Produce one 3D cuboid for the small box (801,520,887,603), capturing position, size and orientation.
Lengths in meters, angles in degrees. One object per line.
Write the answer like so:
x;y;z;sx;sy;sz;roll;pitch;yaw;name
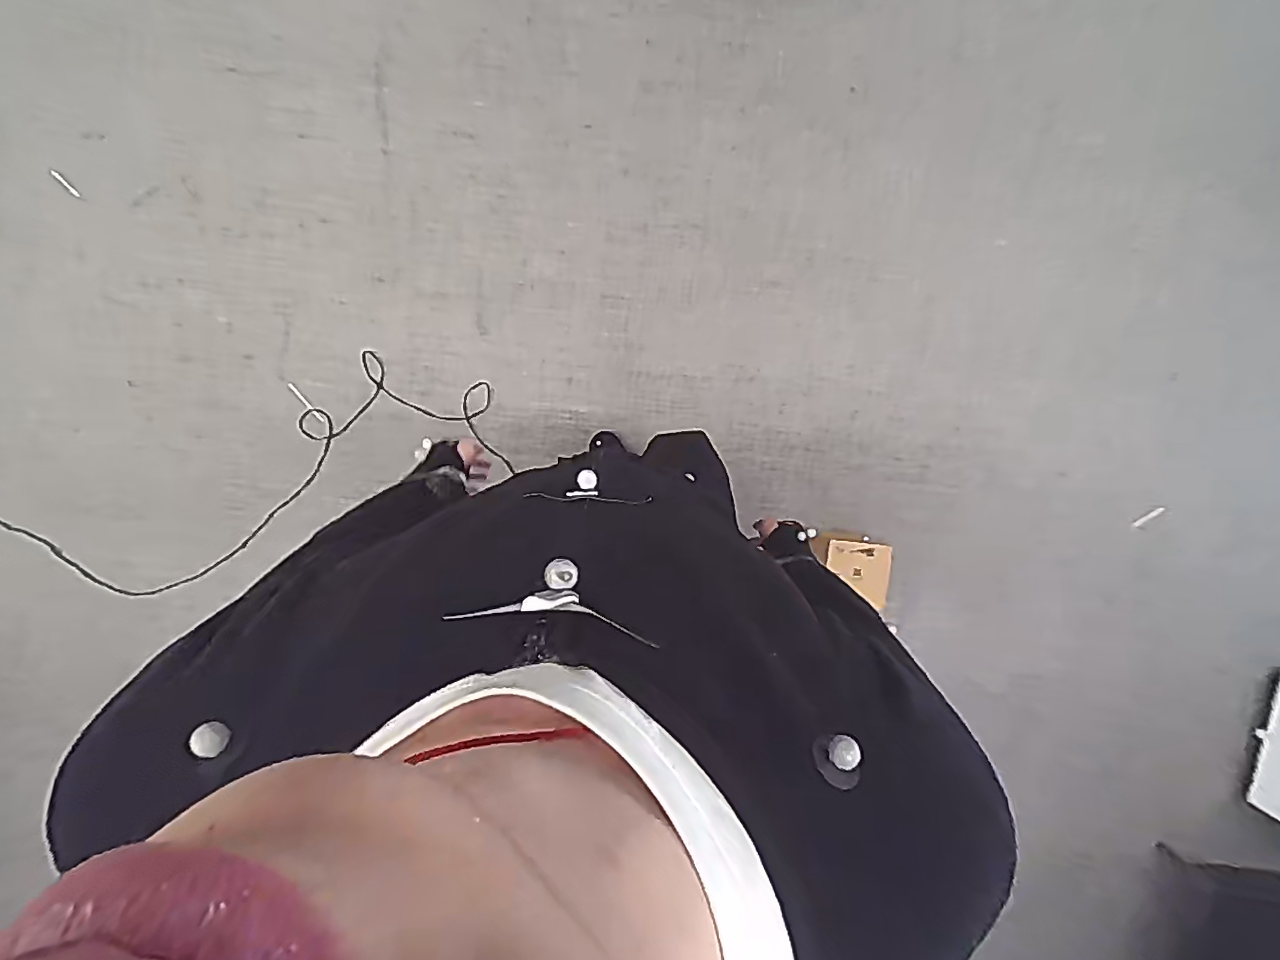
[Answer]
0.556;0.221;1.499;0.168;0.176;0.179;7;97;0;small box
